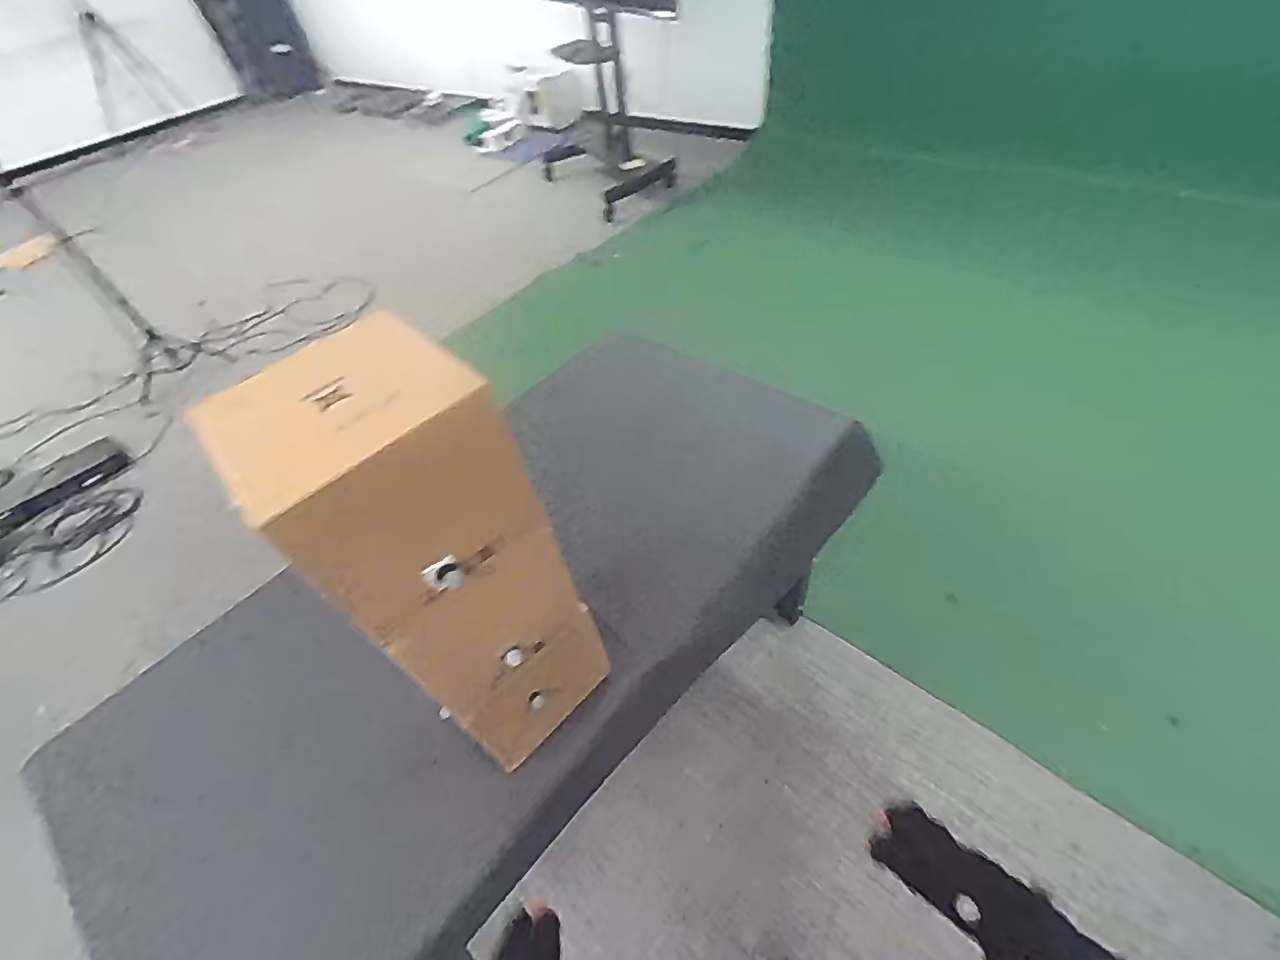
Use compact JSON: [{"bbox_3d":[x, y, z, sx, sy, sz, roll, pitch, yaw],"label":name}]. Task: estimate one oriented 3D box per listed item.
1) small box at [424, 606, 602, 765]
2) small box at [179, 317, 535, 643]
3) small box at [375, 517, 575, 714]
[{"bbox_3d":[-0.170,0.219,0.682,0.168,0.176,0.179,32,61,33],"label":"small box"},{"bbox_3d":[-0.216,-0.001,0.445,0.168,0.176,0.179,-40,54,-22],"label":"small box"},{"bbox_3d":[-0.195,0.106,0.564,0.179,0.176,0.168,31,59,35],"label":"small box"}]
